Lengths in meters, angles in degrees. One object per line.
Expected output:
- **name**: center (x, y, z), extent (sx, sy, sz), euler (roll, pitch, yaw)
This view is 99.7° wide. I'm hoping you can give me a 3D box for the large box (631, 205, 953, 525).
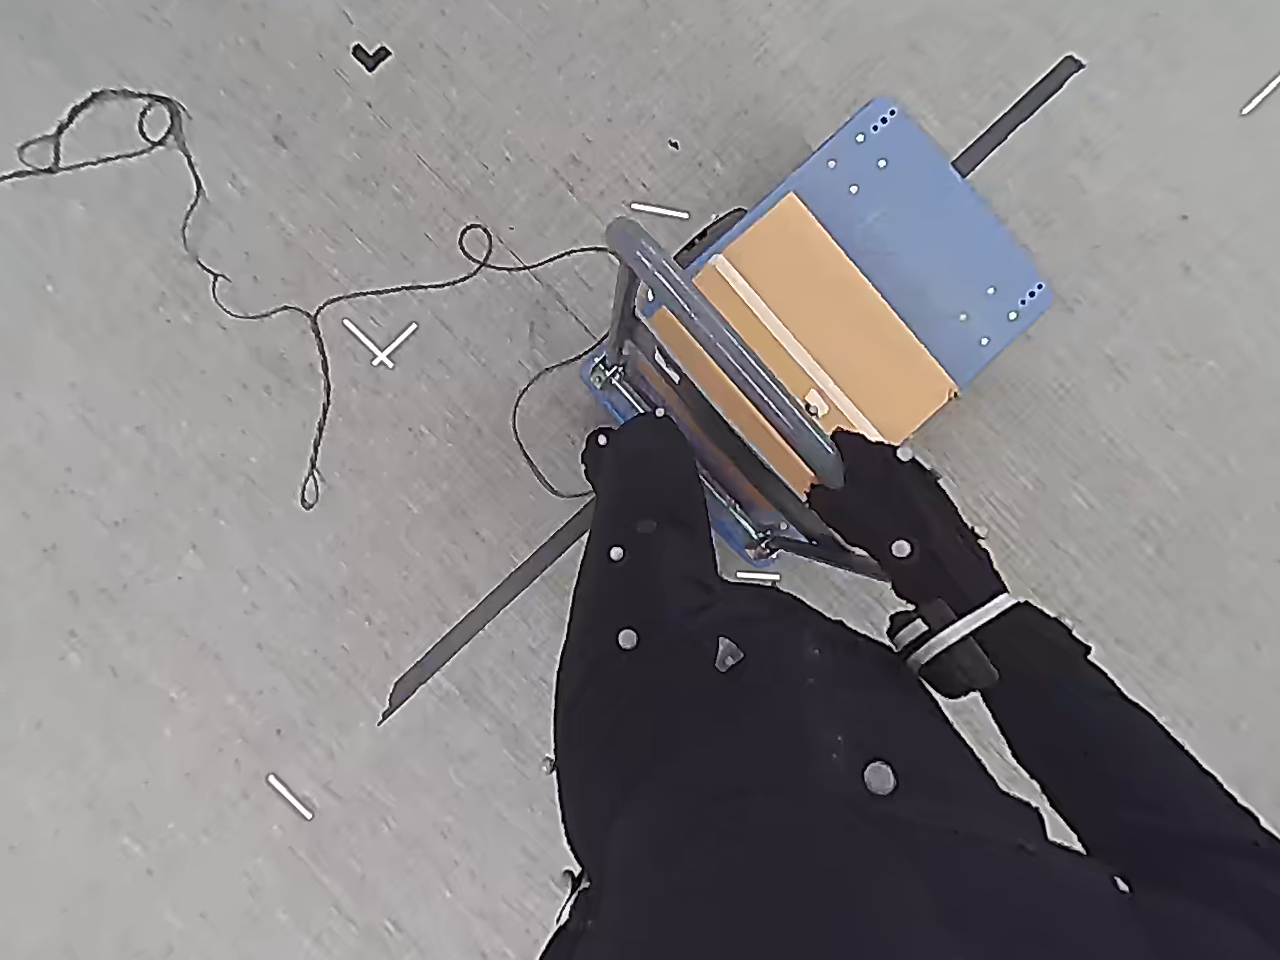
- **large box**: center (0.232, -0.178, 0.970), extent (0.320, 0.320, 0.408), euler (-42, 94, -1)
